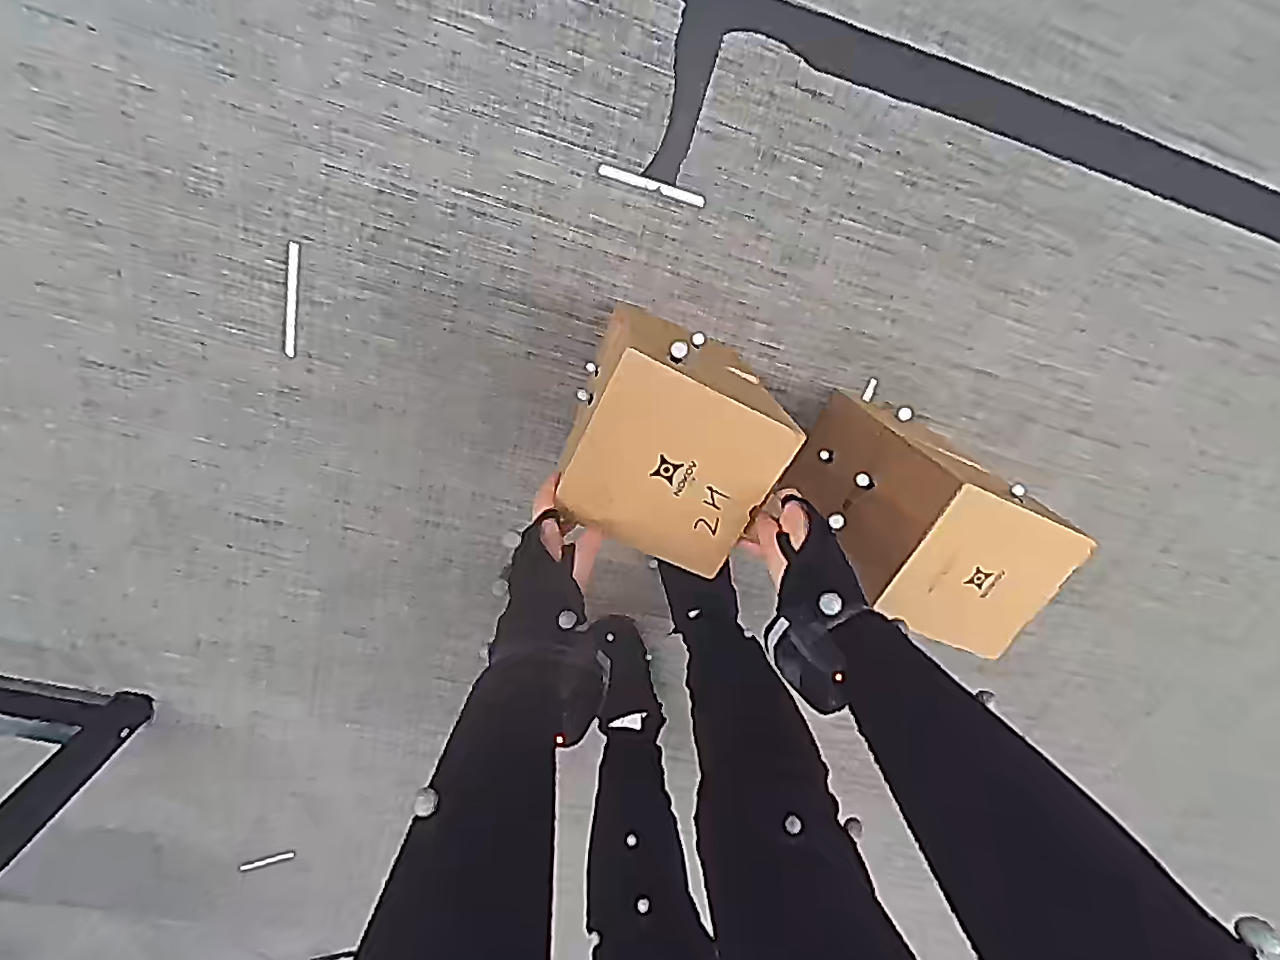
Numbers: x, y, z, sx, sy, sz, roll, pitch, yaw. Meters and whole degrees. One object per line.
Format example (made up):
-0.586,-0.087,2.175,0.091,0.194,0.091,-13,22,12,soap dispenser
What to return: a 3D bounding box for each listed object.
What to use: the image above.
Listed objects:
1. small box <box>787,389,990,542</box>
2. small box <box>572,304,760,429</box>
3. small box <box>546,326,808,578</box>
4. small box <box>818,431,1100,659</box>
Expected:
0.329,-0.003,0.762,0.168,0.176,0.179,20,112,-12,small box
0.022,-0.111,0.694,0.179,0.176,0.168,19,113,-12,small box
0.028,-0.039,0.538,0.179,0.176,0.168,24,112,-12,small box
0.340,0.065,0.614,0.179,0.176,0.168,22,112,-13,small box
